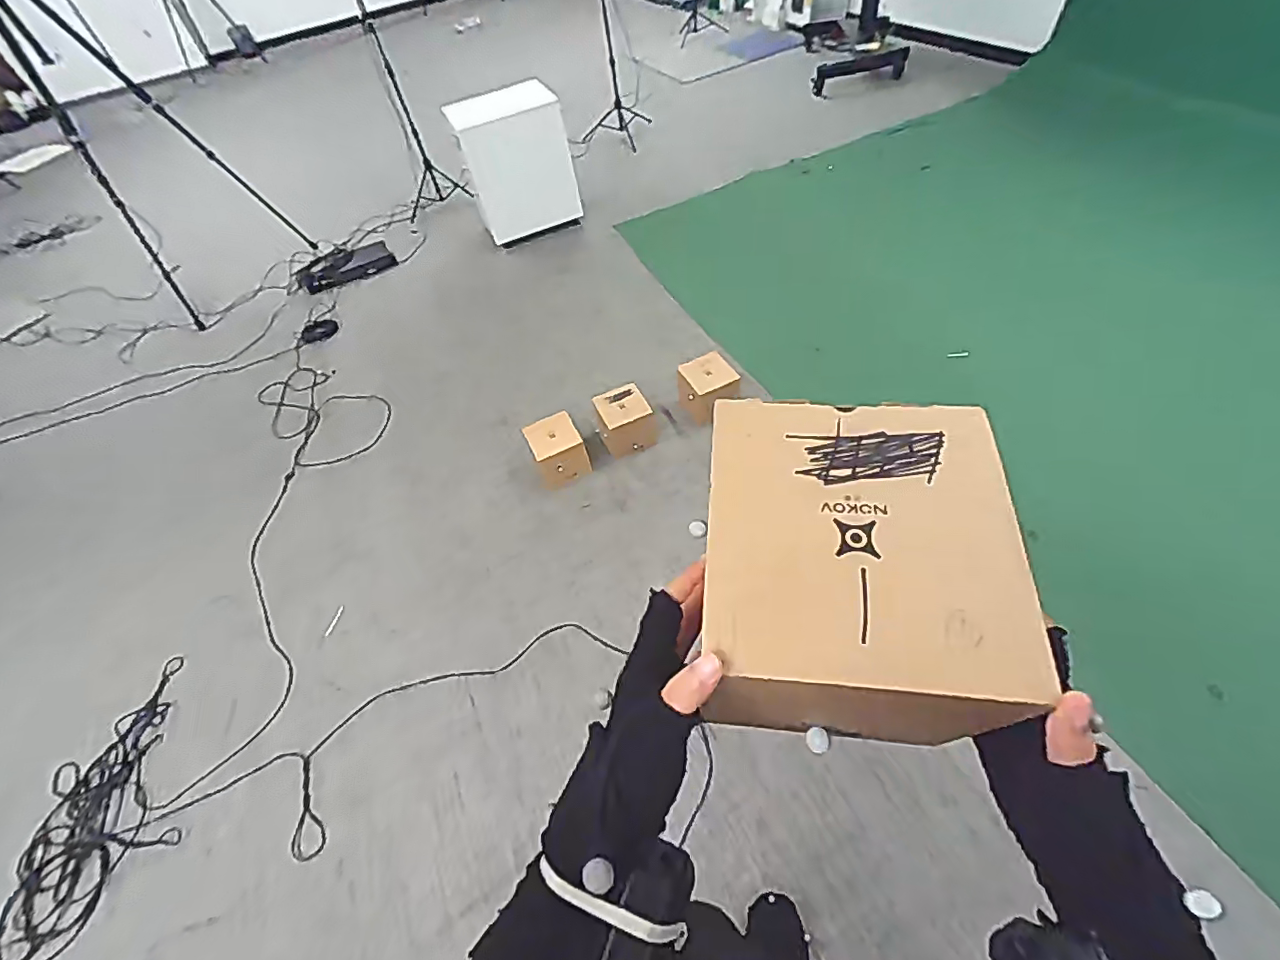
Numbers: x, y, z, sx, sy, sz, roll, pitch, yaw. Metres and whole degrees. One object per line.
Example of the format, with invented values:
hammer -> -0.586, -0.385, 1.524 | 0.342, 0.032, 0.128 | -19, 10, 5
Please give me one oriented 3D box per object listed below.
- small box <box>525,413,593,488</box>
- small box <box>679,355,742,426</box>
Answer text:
small box -> -0.279, -0.095, 1.888 | 0.168, 0.176, 0.179 | -25, 52, -10
small box -> 0.258, -0.321, 1.981 | 0.168, 0.176, 0.179 | -24, 53, -11
